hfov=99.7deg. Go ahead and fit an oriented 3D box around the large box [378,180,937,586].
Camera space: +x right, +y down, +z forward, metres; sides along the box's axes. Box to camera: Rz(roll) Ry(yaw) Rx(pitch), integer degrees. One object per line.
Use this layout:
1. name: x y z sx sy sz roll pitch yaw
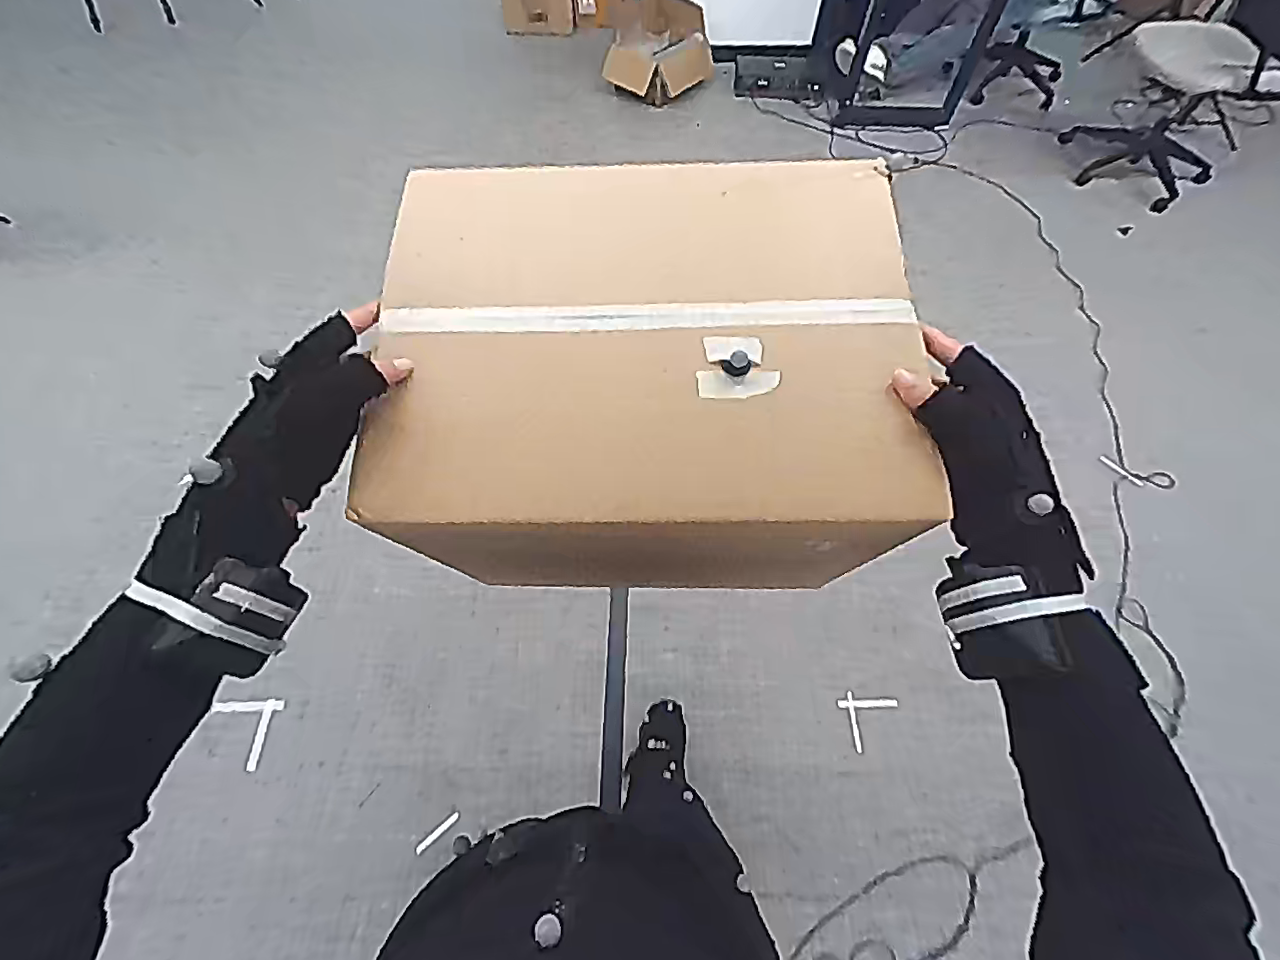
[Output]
1. large box: 0.011 -0.069 0.568 0.408 0.320 0.320 0 71 1
